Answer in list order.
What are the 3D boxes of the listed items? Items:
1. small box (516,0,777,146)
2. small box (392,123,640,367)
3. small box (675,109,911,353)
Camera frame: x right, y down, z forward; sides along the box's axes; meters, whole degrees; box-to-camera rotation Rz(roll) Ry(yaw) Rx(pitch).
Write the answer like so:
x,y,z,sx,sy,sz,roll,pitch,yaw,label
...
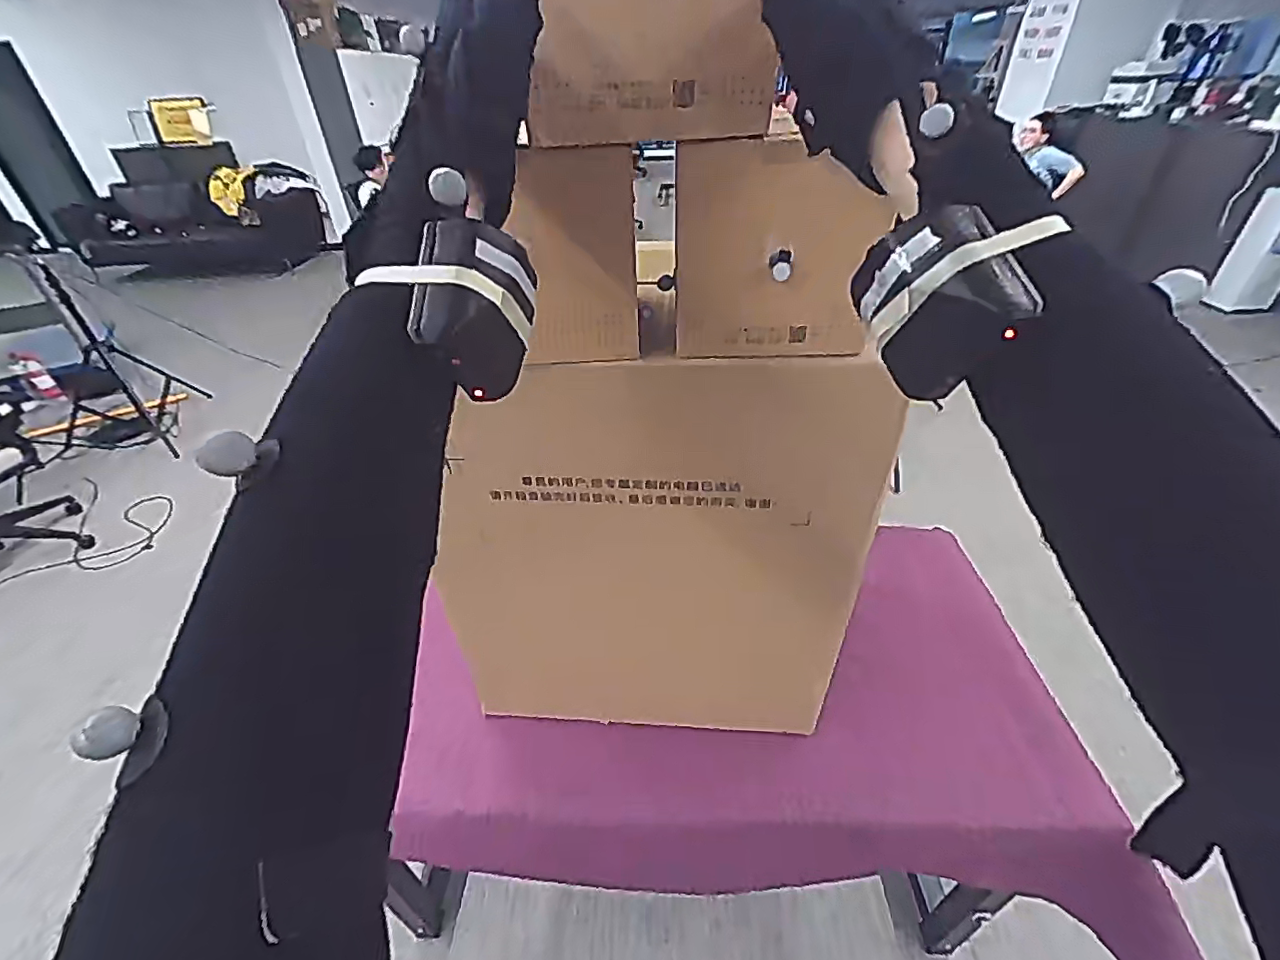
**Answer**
x,y,z,sx,sy,sz,roll,pitch,yaw,label
-0.001,-0.344,0.388,0.168,0.176,0.179,-5,37,-5,small box
-0.090,-0.216,0.493,0.179,0.176,0.168,-4,38,-1,small box
0.116,-0.225,0.492,0.168,0.176,0.179,0,38,3,small box
